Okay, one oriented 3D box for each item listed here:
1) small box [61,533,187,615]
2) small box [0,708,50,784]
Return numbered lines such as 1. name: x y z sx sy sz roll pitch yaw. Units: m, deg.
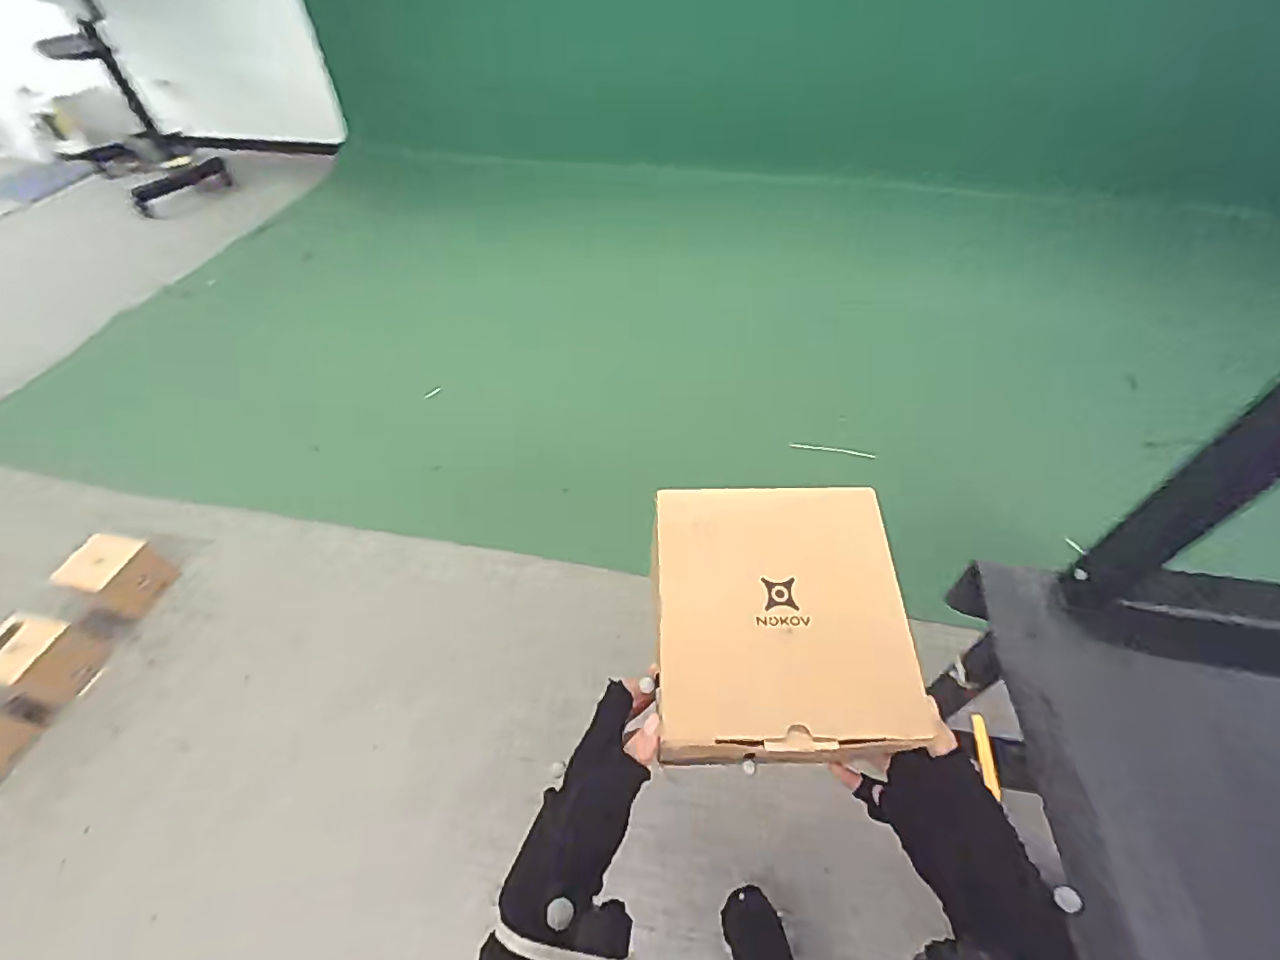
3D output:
1. small box: -1.531 0.285 1.621 0.179 0.176 0.168 9 49 9
2. small box: -1.630 0.641 1.313 0.179 0.176 0.168 7 50 9
